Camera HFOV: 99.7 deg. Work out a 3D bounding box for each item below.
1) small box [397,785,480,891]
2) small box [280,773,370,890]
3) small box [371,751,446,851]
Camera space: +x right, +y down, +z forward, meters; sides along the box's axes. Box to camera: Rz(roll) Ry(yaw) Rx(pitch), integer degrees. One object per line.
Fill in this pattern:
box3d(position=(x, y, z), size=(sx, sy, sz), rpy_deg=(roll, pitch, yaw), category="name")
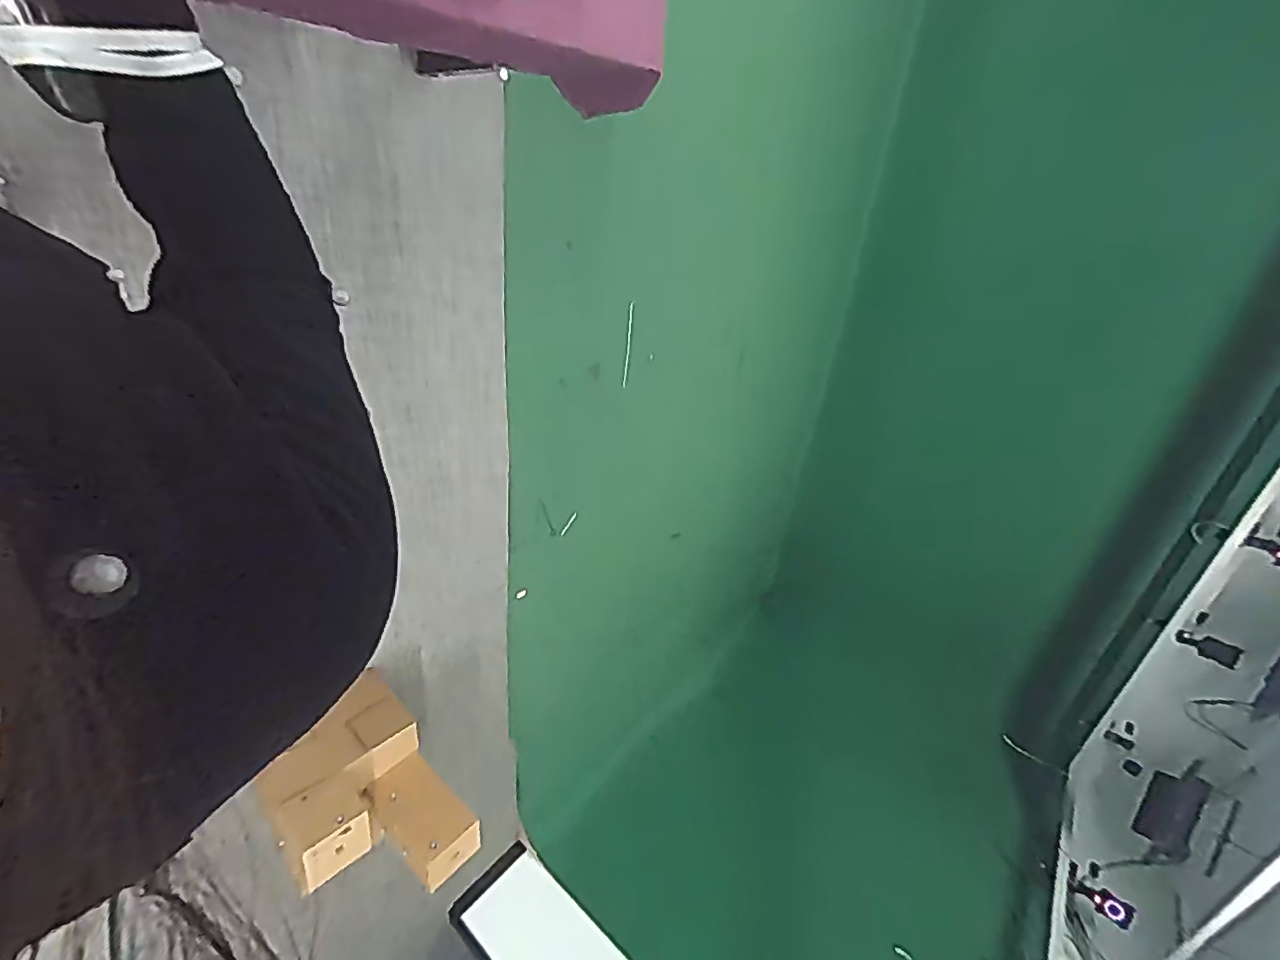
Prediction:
box3d(position=(-0.613, 1.086, 1.655), size=(0.179, 0.176, 0.168), rpy_deg=(-26, 134, -44), category="small box")
box3d(position=(-0.871, 0.965, 1.499), size=(0.168, 0.176, 0.179), rpy_deg=(-20, 128, -47), category="small box")
box3d(position=(-0.741, 1.022, 1.733), size=(0.179, 0.176, 0.168), rpy_deg=(-28, 135, -44), category="small box")
